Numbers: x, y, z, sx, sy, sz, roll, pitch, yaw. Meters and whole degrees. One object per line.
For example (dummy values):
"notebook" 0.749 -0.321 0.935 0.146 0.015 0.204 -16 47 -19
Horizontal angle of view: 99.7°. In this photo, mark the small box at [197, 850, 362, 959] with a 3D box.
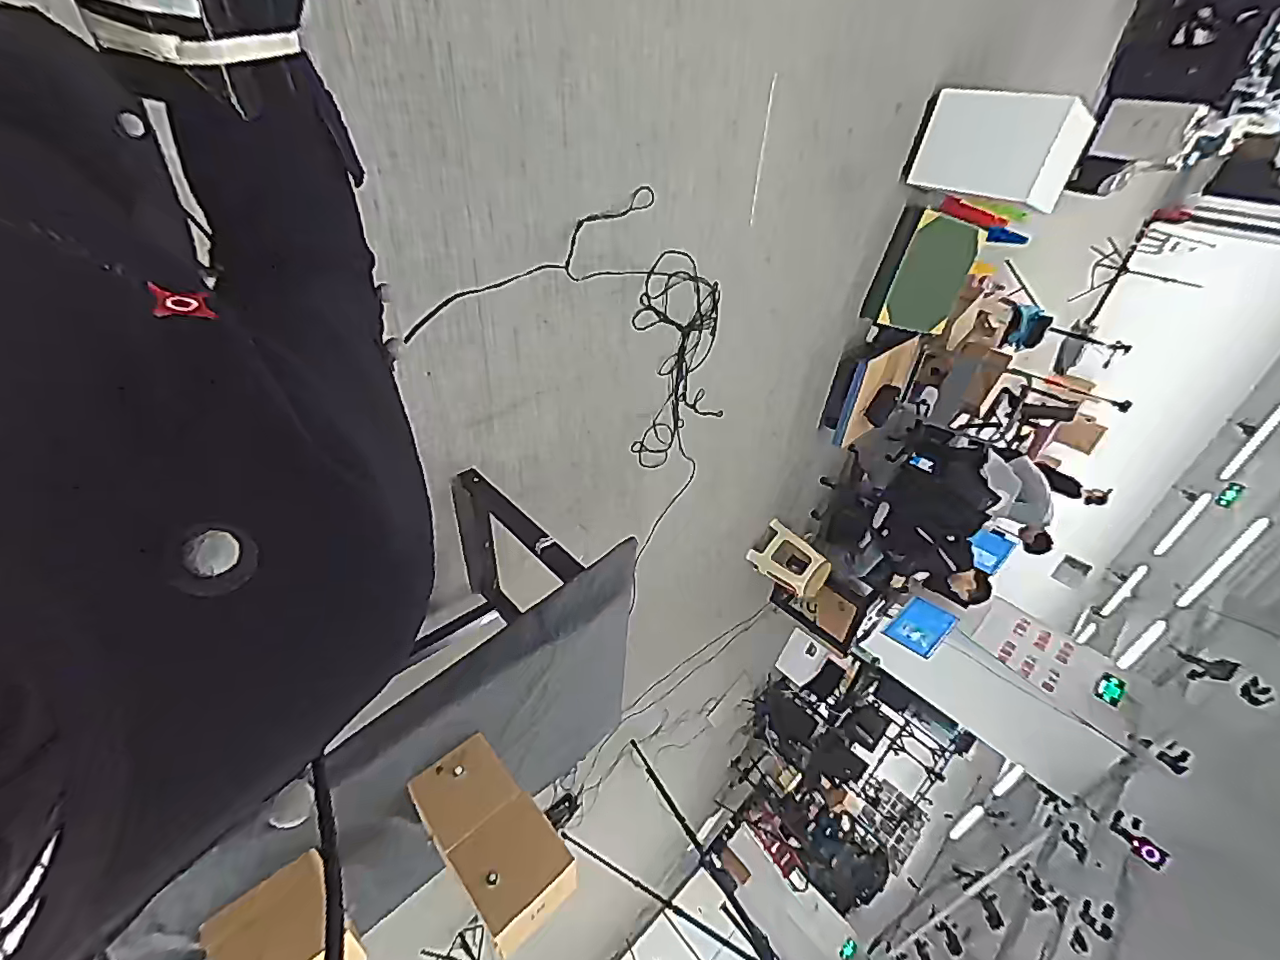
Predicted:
"small box" -0.614 0.792 0.930 0.179 0.176 0.168 -25 136 -36

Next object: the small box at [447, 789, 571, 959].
"small box" -0.253 0.752 1.044 0.179 0.176 0.168 -29 139 -35

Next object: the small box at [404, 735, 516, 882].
"small box" -0.369 0.678 1.131 0.168 0.176 0.179 -27 137 -36
